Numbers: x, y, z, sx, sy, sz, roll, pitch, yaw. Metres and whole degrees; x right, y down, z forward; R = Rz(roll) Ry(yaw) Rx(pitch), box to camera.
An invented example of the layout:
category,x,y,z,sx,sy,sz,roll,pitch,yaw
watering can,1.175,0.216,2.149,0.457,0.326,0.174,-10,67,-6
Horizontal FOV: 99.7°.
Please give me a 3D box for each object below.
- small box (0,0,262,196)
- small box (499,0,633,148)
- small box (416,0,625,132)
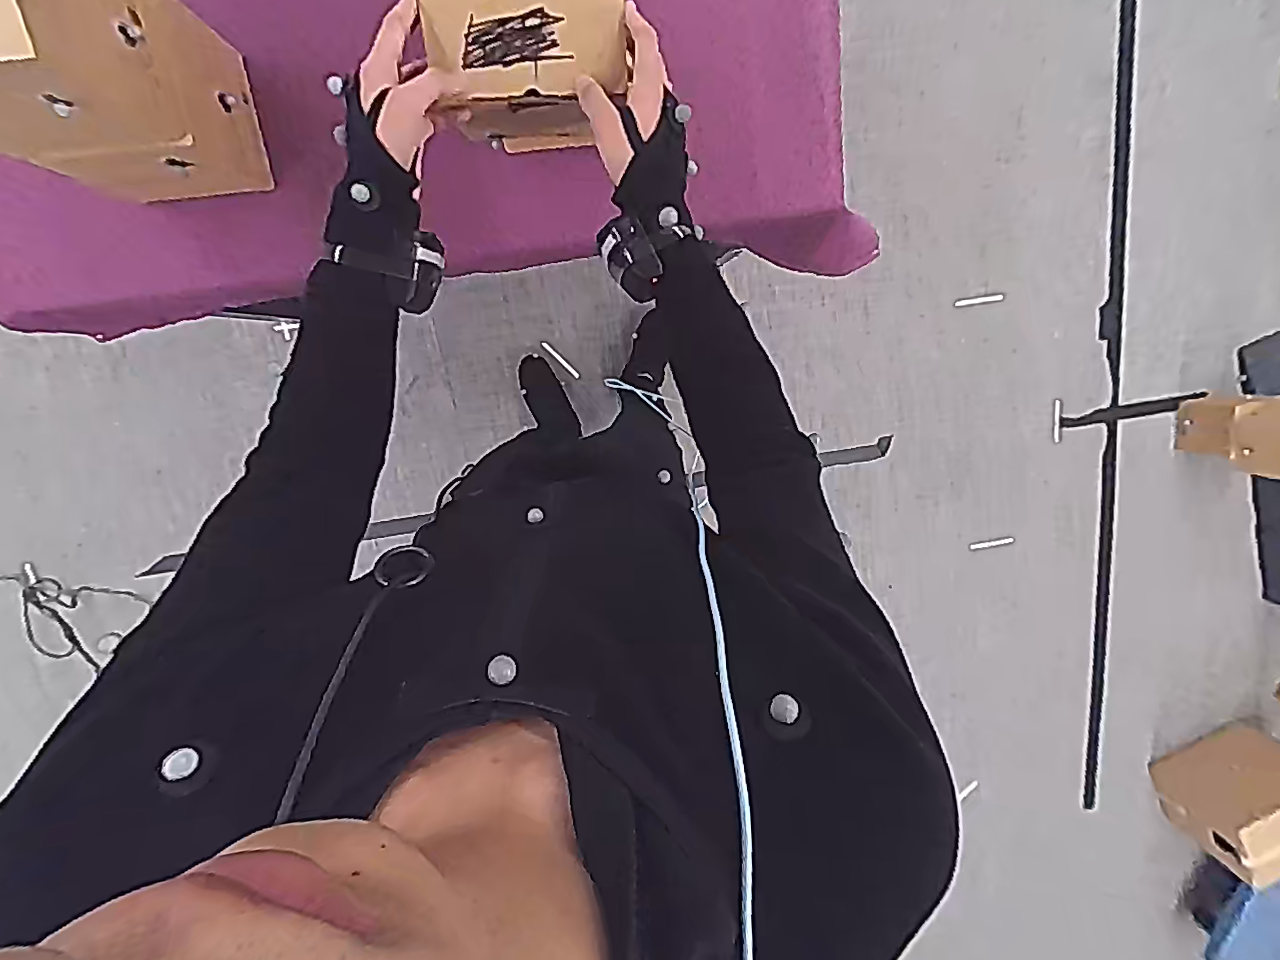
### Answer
category,x,y,z,sx,sy,sz,roll,pitch,yaw
small box,-0.589,-0.451,0.641,0.179,0.176,0.168,-8,104,-4
small box,-0.109,-0.537,0.672,0.179,0.176,0.168,-8,104,-4
small box,-0.102,-0.432,0.493,0.168,0.176,0.179,-5,112,-4
